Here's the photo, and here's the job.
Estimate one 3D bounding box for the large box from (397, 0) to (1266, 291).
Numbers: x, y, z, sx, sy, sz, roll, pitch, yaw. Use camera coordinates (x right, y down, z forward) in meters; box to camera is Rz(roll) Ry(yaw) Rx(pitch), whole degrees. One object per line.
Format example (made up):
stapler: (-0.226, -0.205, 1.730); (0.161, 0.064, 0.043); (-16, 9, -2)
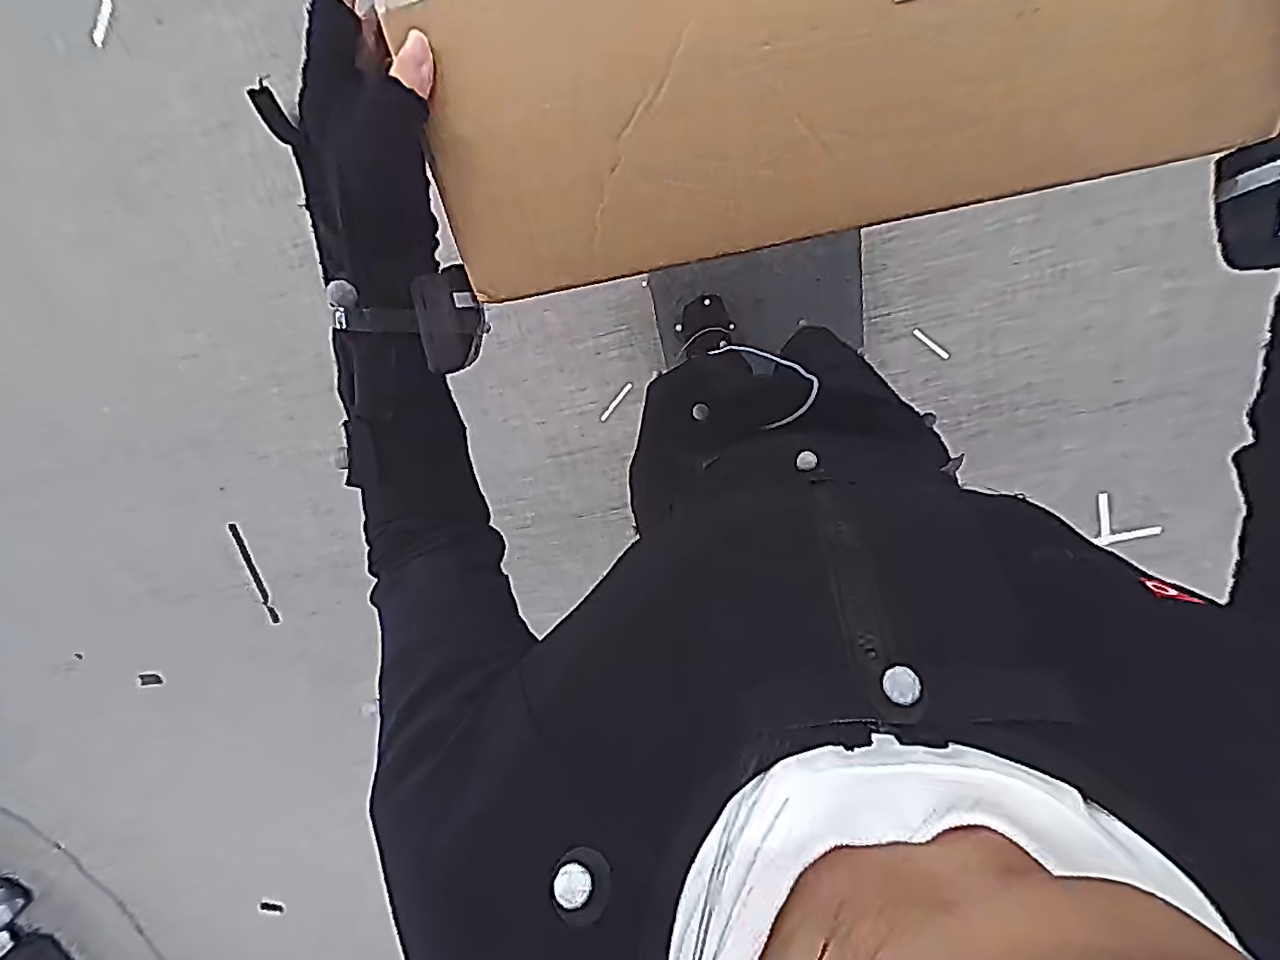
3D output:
large box: (0.081, -0.348, 0.367); (0.408, 0.320, 0.320); (-8, 117, 12)
